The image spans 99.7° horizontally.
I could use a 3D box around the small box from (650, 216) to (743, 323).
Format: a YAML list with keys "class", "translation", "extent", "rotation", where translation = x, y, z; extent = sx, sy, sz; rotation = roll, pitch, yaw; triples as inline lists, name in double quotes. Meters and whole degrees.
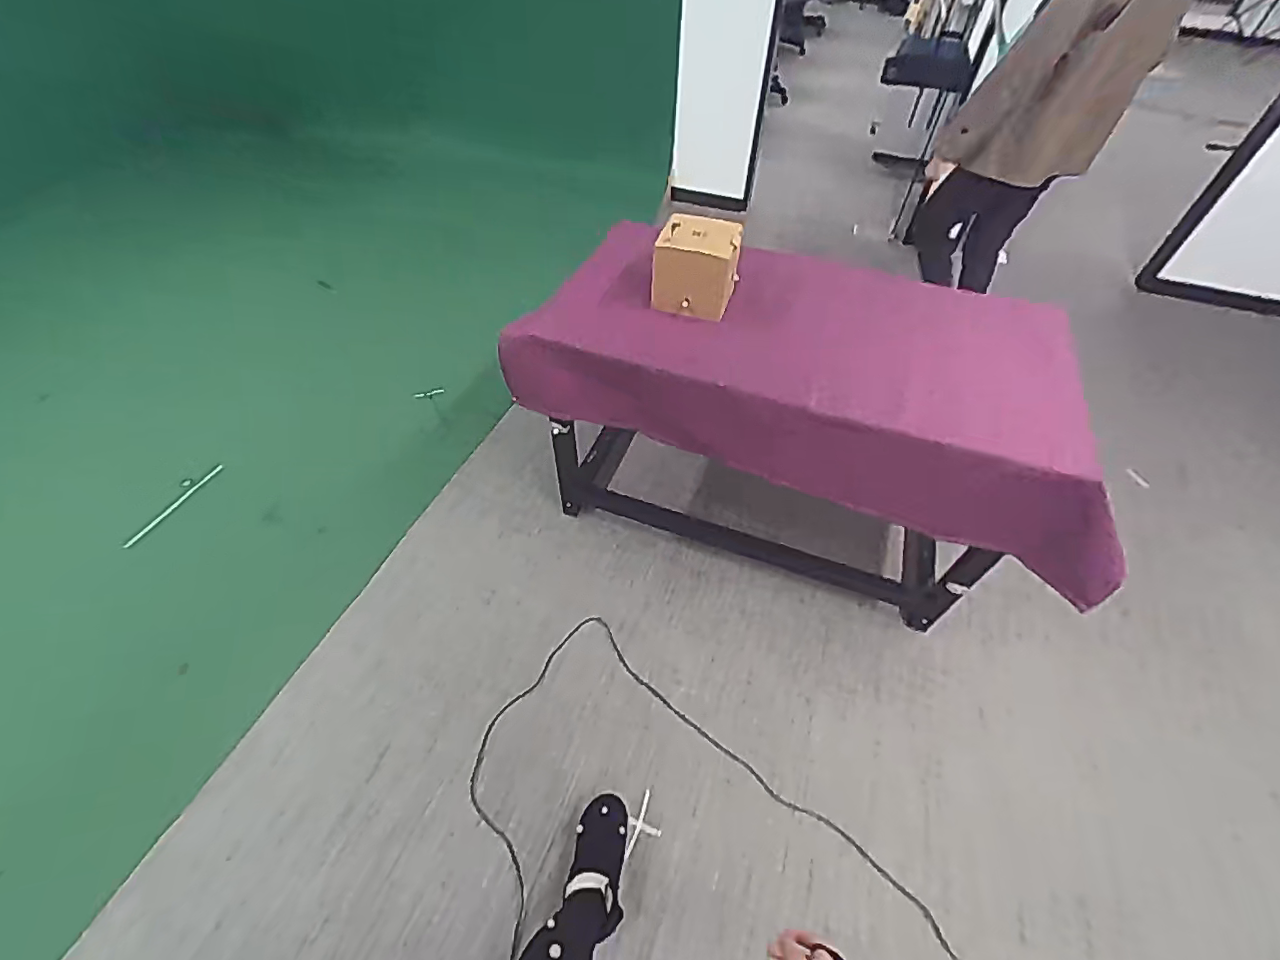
- class: "small box"
  translation: [0.132, -0.502, 1.300]
  extent: [0.179, 0.176, 0.168]
  rotation: [16, 52, 11]
